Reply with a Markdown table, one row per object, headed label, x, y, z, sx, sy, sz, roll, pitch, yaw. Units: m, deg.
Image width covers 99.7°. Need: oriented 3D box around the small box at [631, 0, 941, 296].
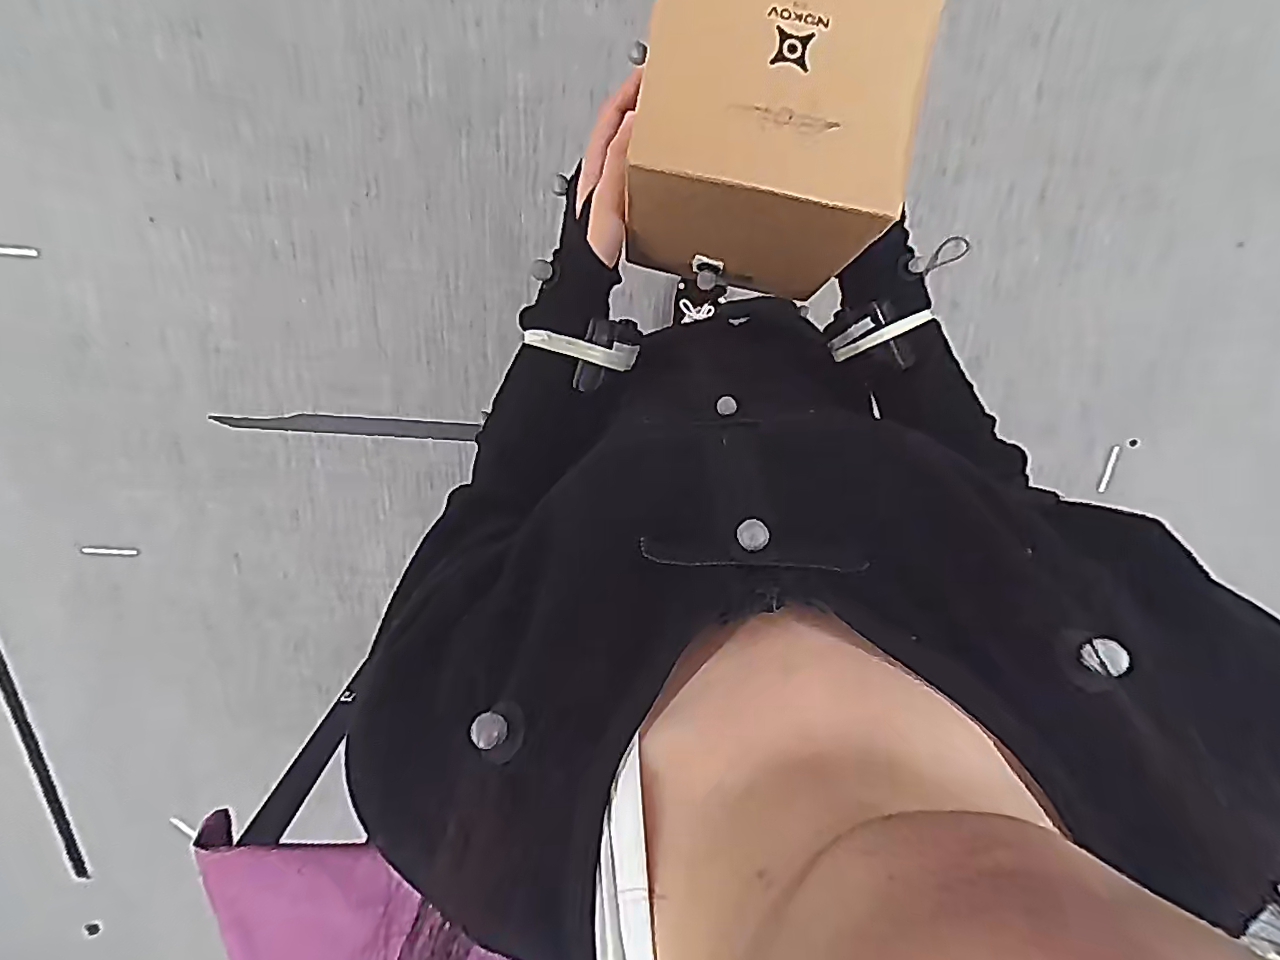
| label | x | y | z | sx | sy | sz | roll | pitch | yaw |
| --- | --- | --- | --- | --- | --- | --- | --- | --- | --- |
| small box | 0.087 | -0.259 | 0.398 | 0.168 | 0.176 | 0.179 | 10 | 92 | -2 |
